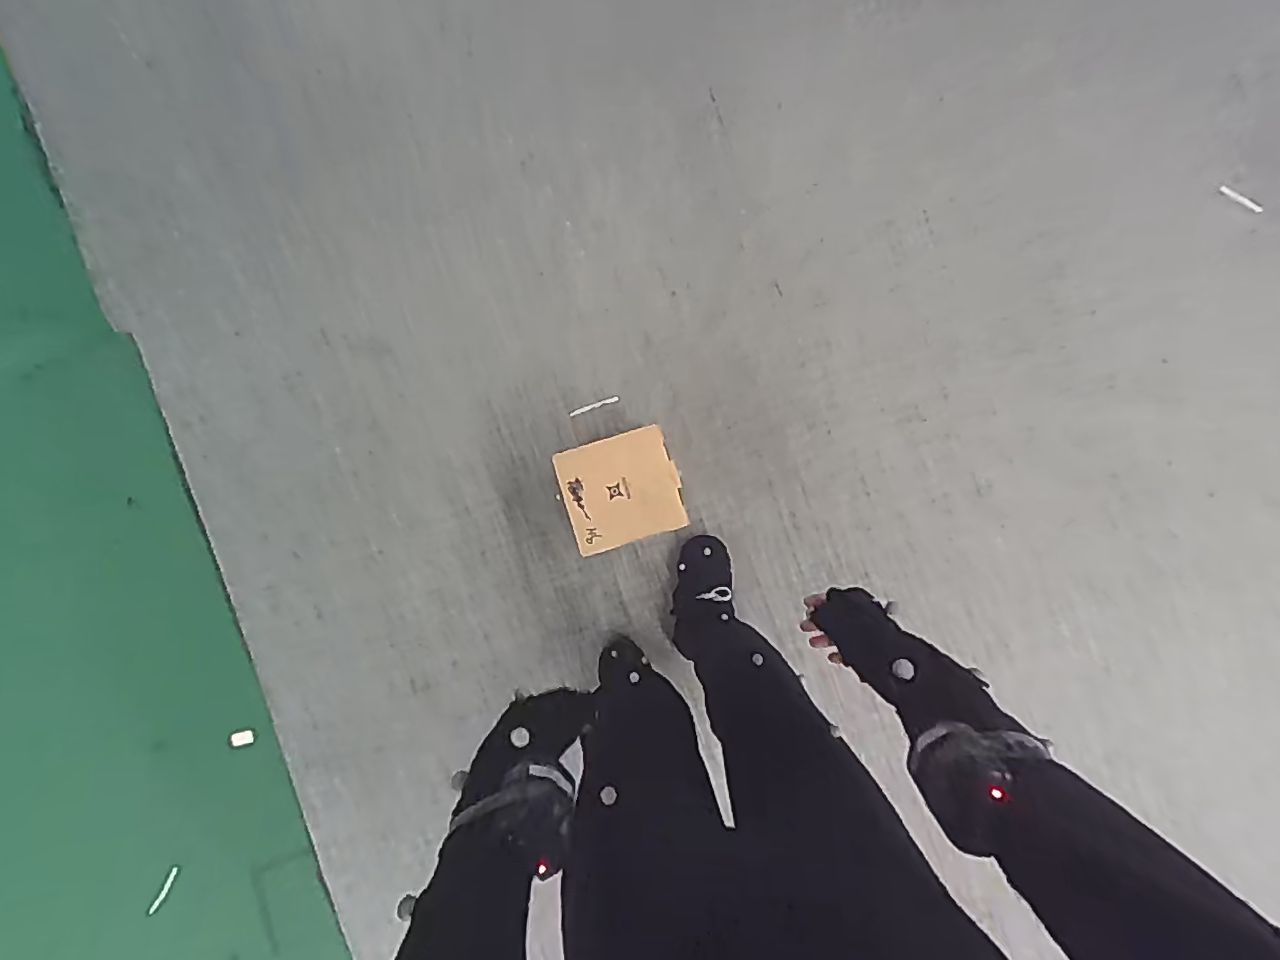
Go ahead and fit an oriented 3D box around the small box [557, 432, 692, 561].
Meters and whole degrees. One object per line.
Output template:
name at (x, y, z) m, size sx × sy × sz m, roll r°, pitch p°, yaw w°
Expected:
small box at (-0.025, 0.024, 0.912) m, size 0.179 × 0.176 × 0.168 m, roll -17°, pitch 90°, yaw 1°
